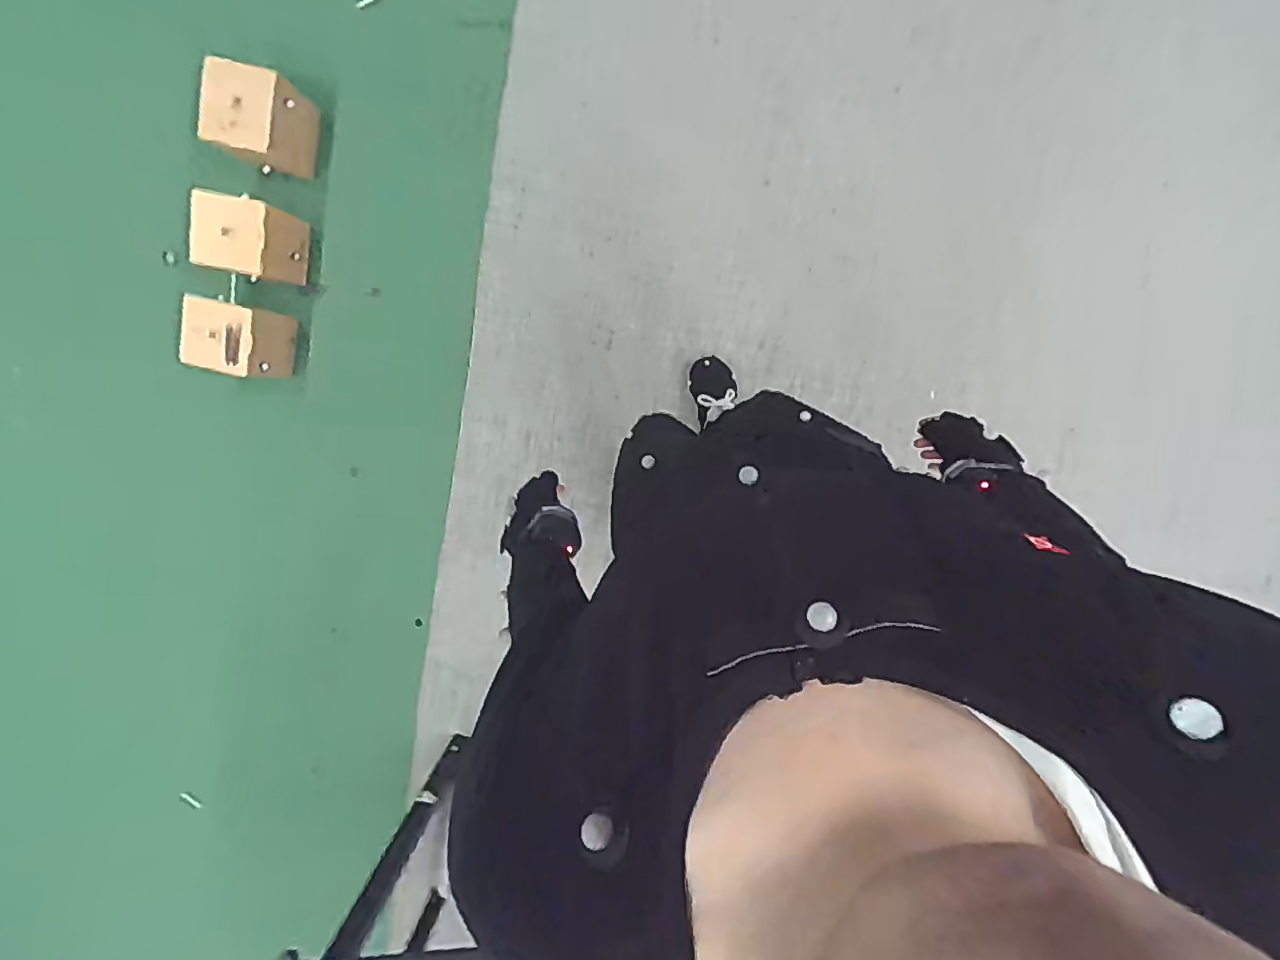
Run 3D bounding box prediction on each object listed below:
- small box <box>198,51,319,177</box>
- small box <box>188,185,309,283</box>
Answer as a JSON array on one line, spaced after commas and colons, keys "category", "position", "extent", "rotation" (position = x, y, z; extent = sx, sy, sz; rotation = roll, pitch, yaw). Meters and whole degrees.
[{"category": "small box", "position": [-0.903, -0.865, 1.295], "extent": [0.168, 0.176, 0.179], "rotation": [14, 99, 0]}, {"category": "small box", "position": [-0.966, -0.602, 1.344], "extent": [0.179, 0.176, 0.168], "rotation": [11, 100, -1]}]
